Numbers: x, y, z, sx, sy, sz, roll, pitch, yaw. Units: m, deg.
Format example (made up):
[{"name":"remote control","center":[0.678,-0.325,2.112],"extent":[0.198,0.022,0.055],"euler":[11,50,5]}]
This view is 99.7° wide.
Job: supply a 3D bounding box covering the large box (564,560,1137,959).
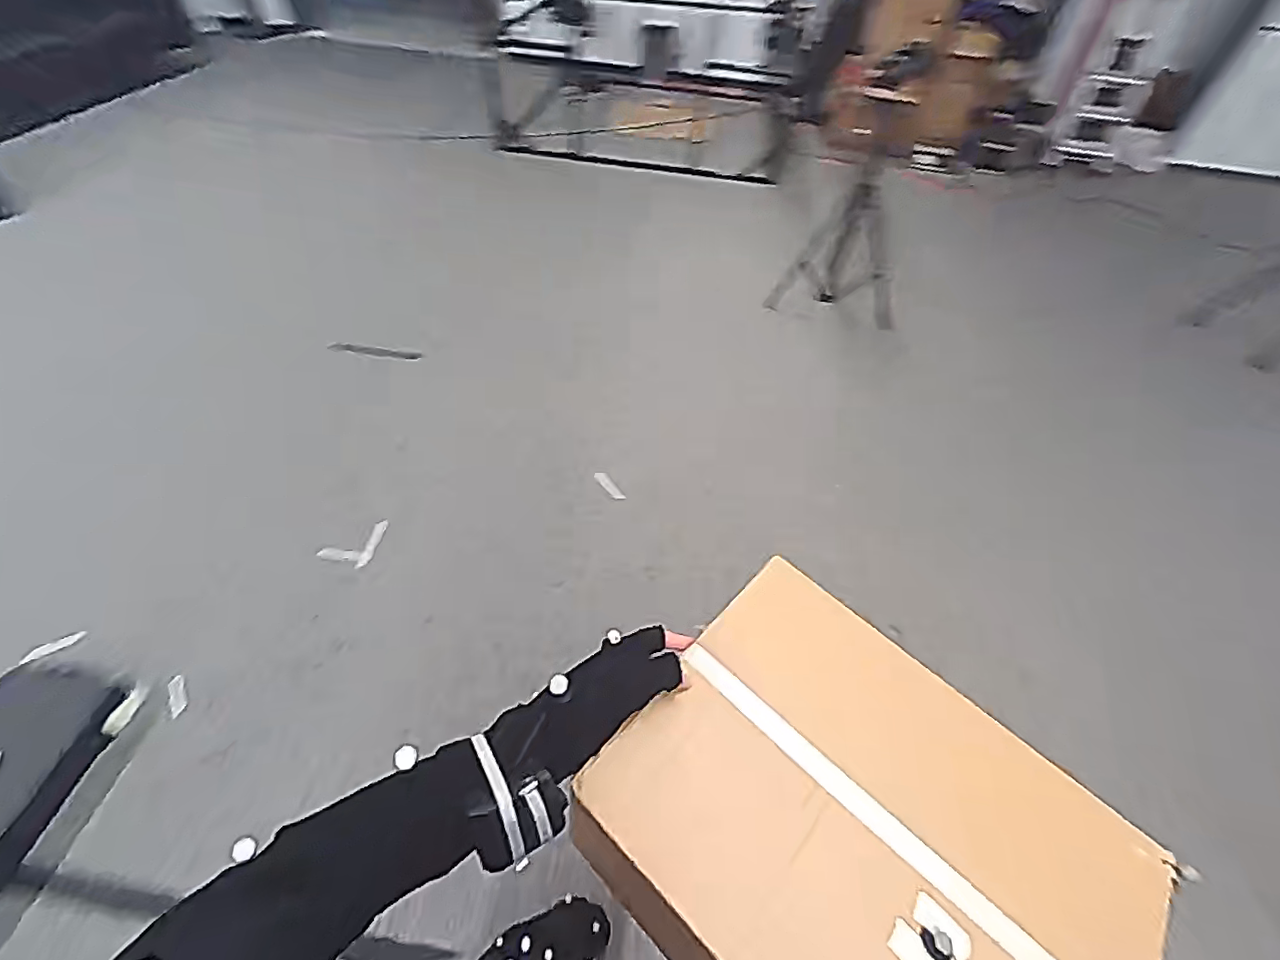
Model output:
[{"name":"large box","center":[0.167,0.370,0.569],"extent":[0.408,0.320,0.320],"euler":[38,56,21]}]
